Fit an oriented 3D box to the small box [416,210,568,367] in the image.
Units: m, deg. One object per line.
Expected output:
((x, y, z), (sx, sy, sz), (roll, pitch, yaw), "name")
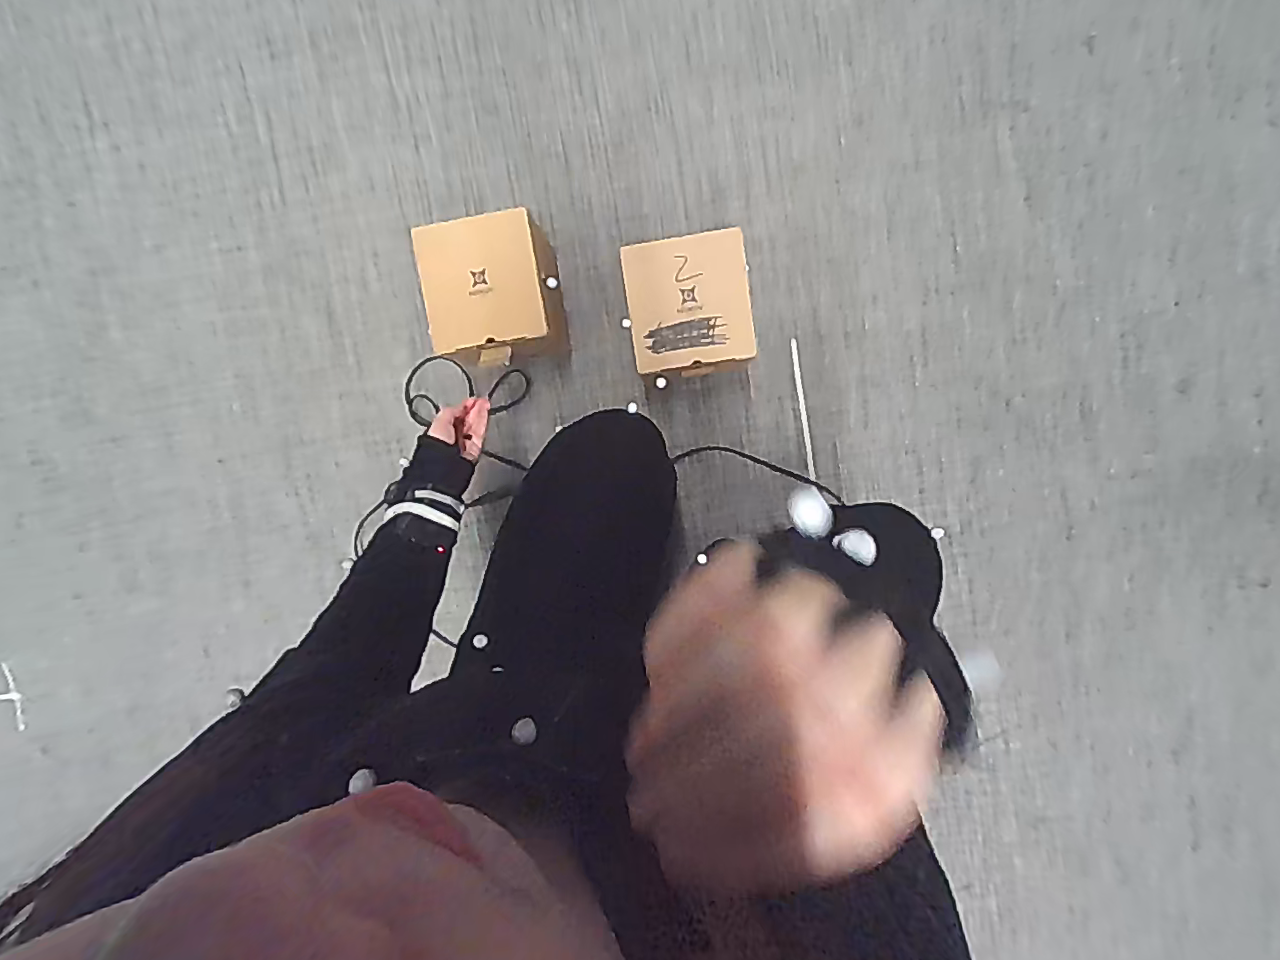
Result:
((-0.216, -0.281, 0.829), (0.168, 0.176, 0.179), (-8, 95, 4), "small box")
